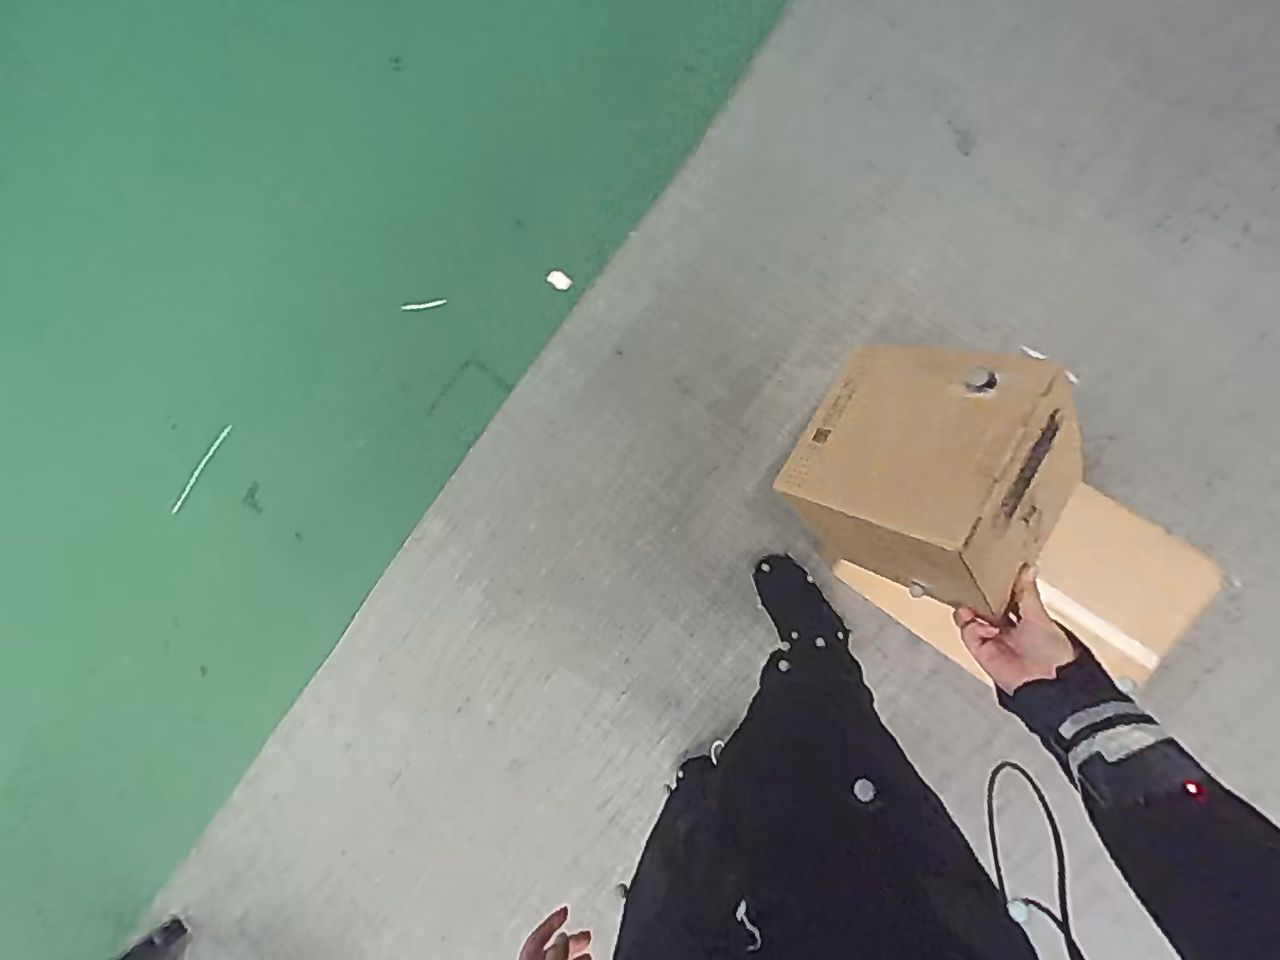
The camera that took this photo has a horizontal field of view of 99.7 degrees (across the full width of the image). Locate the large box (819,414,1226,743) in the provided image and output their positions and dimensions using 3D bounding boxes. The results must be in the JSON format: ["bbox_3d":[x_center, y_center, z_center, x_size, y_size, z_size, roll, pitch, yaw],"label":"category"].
[{"bbox_3d":[0.575,0.139,0.921,0.408,0.320,0.320,36,97,12],"label":"large box"}]
